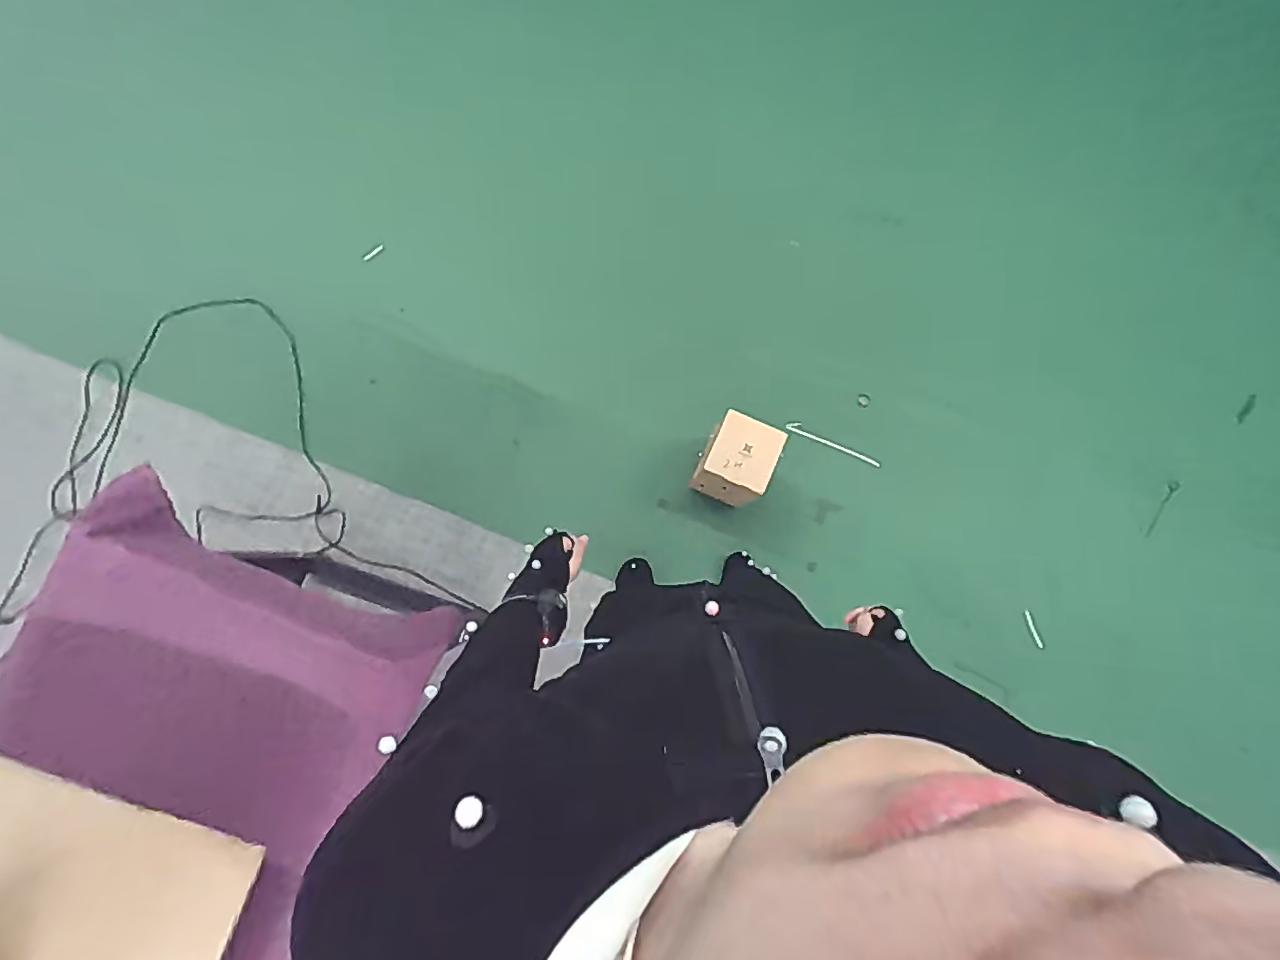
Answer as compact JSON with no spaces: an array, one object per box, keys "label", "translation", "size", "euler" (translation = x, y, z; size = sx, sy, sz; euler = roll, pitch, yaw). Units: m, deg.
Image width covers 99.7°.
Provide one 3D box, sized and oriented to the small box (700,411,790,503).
[{"label":"small box","translation":[0.270,-0.054,1.435],"size":[0.168,0.176,0.179],"euler":[25,82,3]}]
